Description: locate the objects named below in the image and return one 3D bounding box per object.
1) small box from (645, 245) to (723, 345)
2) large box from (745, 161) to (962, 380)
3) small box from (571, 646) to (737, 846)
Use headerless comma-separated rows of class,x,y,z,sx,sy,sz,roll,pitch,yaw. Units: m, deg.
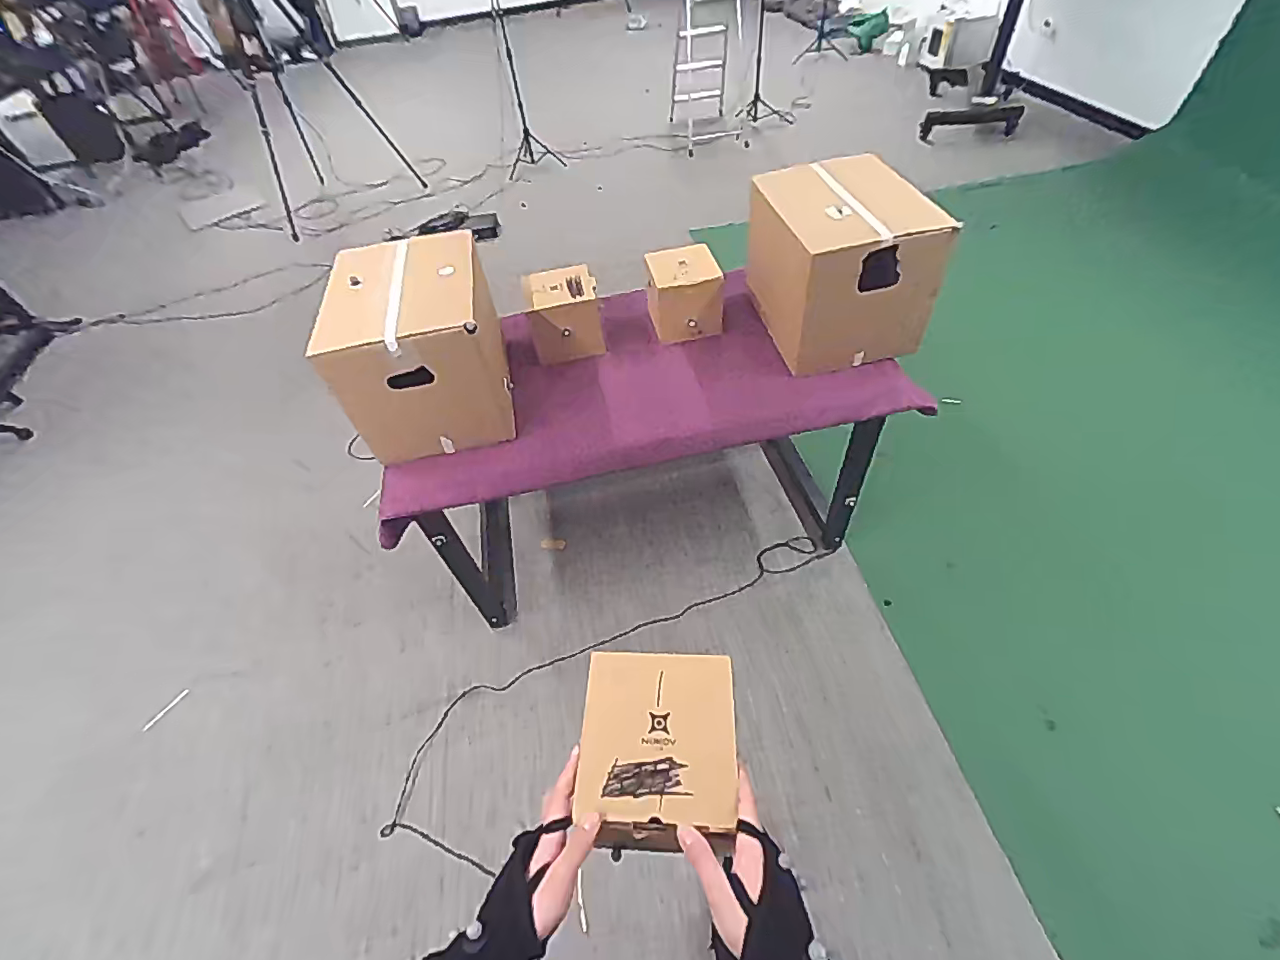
small box,0.111,-0.480,1.407,0.168,0.176,0.179,-11,51,-3
large box,0.466,-0.507,1.302,0.320,0.320,0.408,-12,51,-2
small box,0.023,0.314,0.634,0.168,0.176,0.179,0,48,4
